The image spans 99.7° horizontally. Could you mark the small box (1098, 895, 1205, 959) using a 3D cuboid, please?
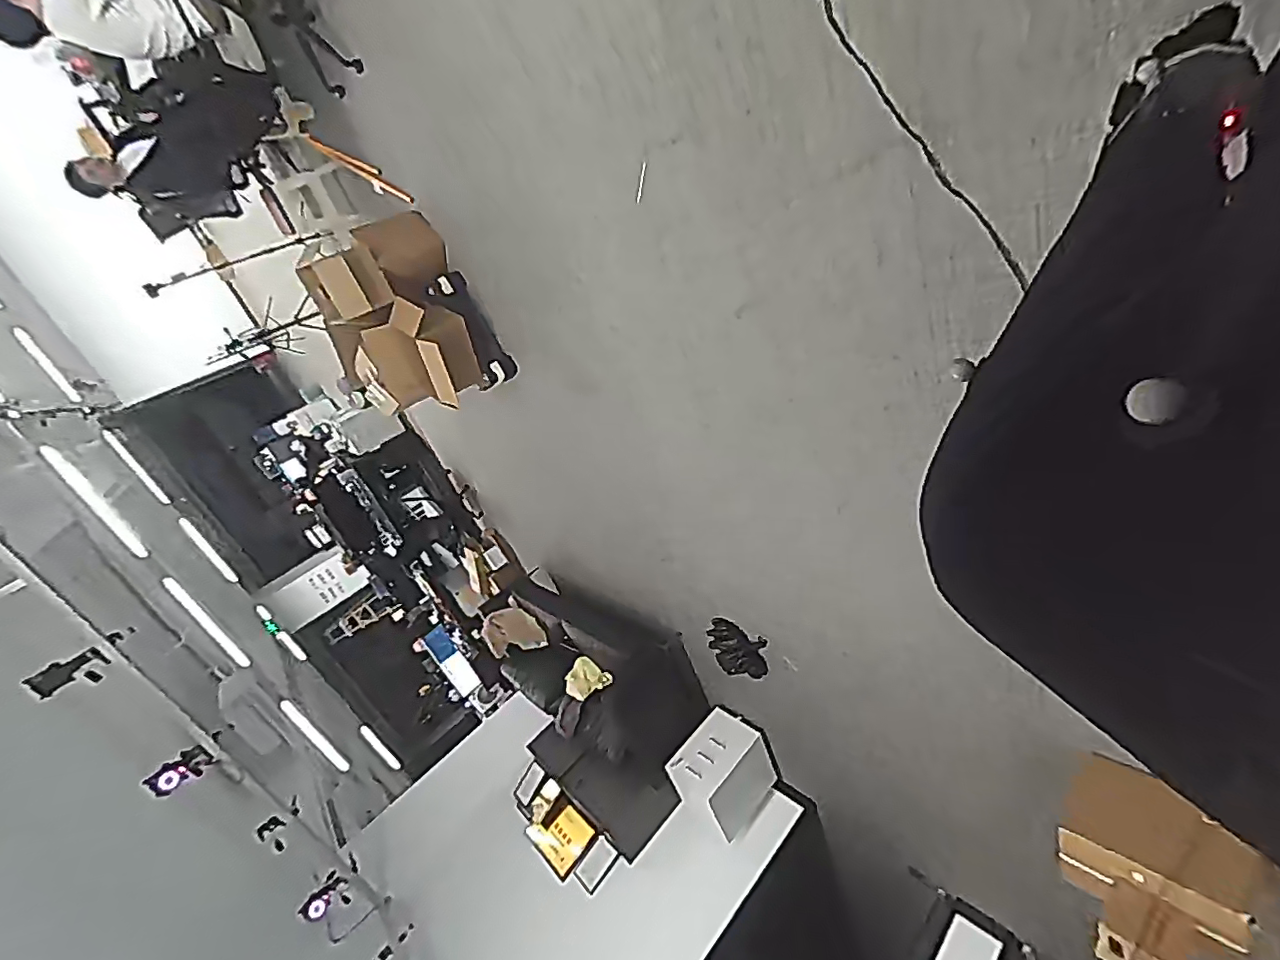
[{"bbox_3d":[1.418,1.307,1.502,0.179,0.176,0.168,17,131,47],"label":"small box"}]
